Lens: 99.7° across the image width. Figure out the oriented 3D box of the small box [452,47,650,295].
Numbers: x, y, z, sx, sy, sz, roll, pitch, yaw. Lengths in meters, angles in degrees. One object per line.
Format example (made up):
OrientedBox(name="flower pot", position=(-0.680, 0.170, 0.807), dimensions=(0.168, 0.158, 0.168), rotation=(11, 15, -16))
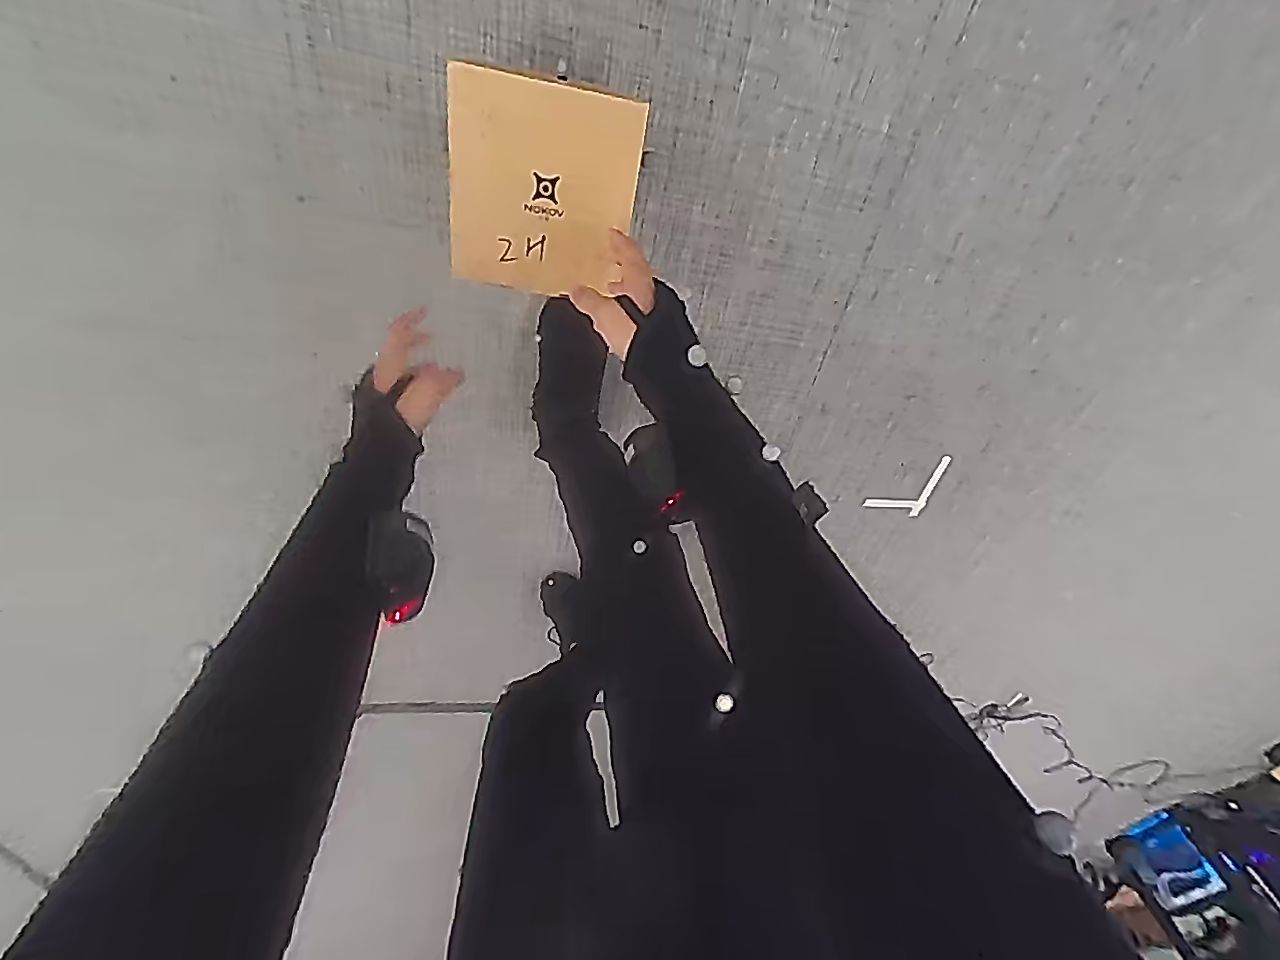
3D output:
OrientedBox(name="small box", position=(-0.095, -0.315, 0.555), dimensions=(0.168, 0.176, 0.179), rotation=(6, 127, -11))
